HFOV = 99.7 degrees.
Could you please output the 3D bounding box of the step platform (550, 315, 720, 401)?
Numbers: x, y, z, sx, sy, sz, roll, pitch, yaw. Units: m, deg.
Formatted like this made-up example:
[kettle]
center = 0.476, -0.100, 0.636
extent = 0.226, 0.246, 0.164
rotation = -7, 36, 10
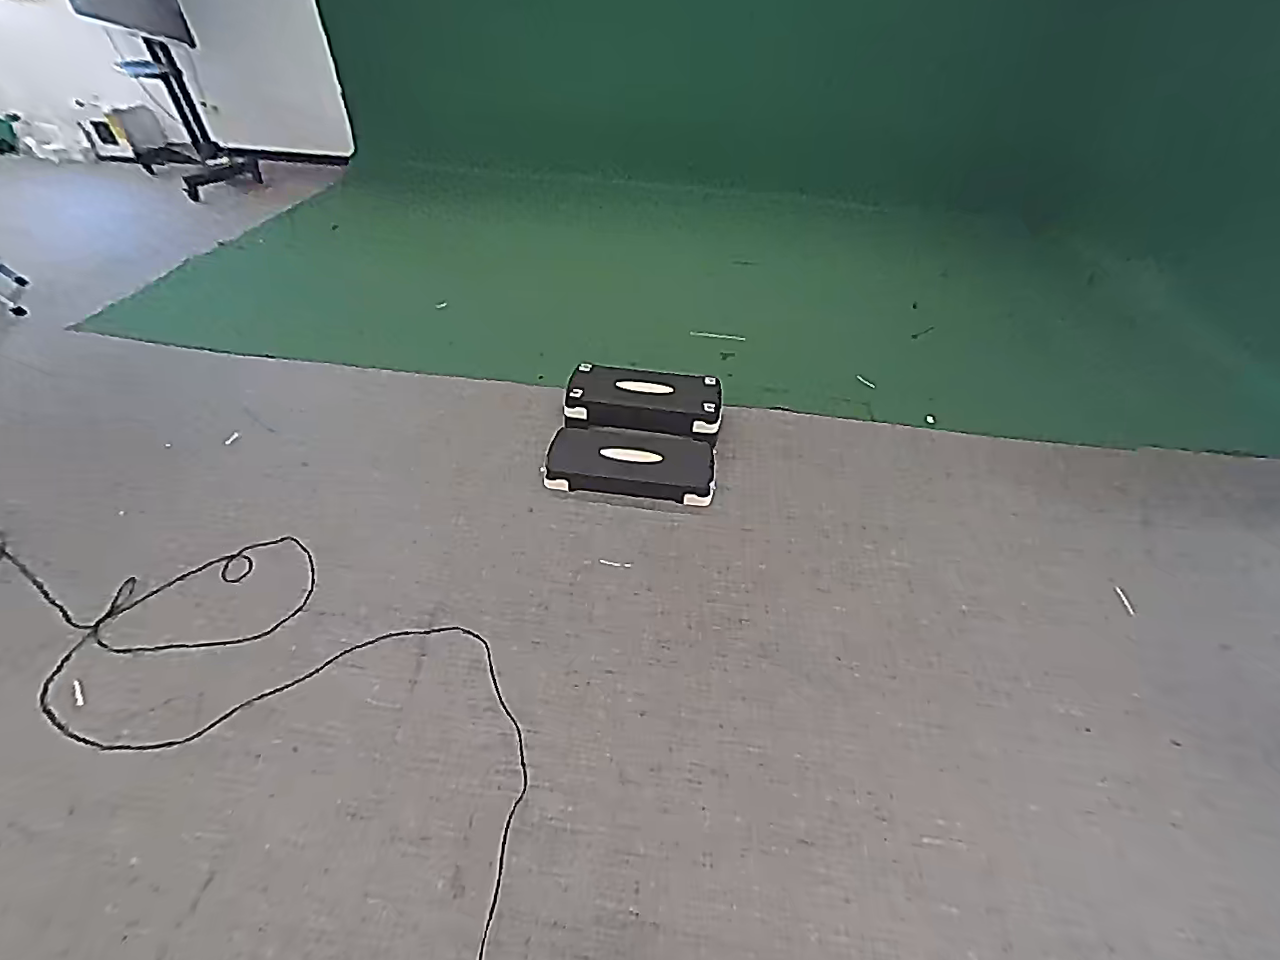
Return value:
[step platform]
center = -0.019, -0.511, 2.257
extent = 0.684, 0.204, 0.286
rotation = 6, 45, 4
